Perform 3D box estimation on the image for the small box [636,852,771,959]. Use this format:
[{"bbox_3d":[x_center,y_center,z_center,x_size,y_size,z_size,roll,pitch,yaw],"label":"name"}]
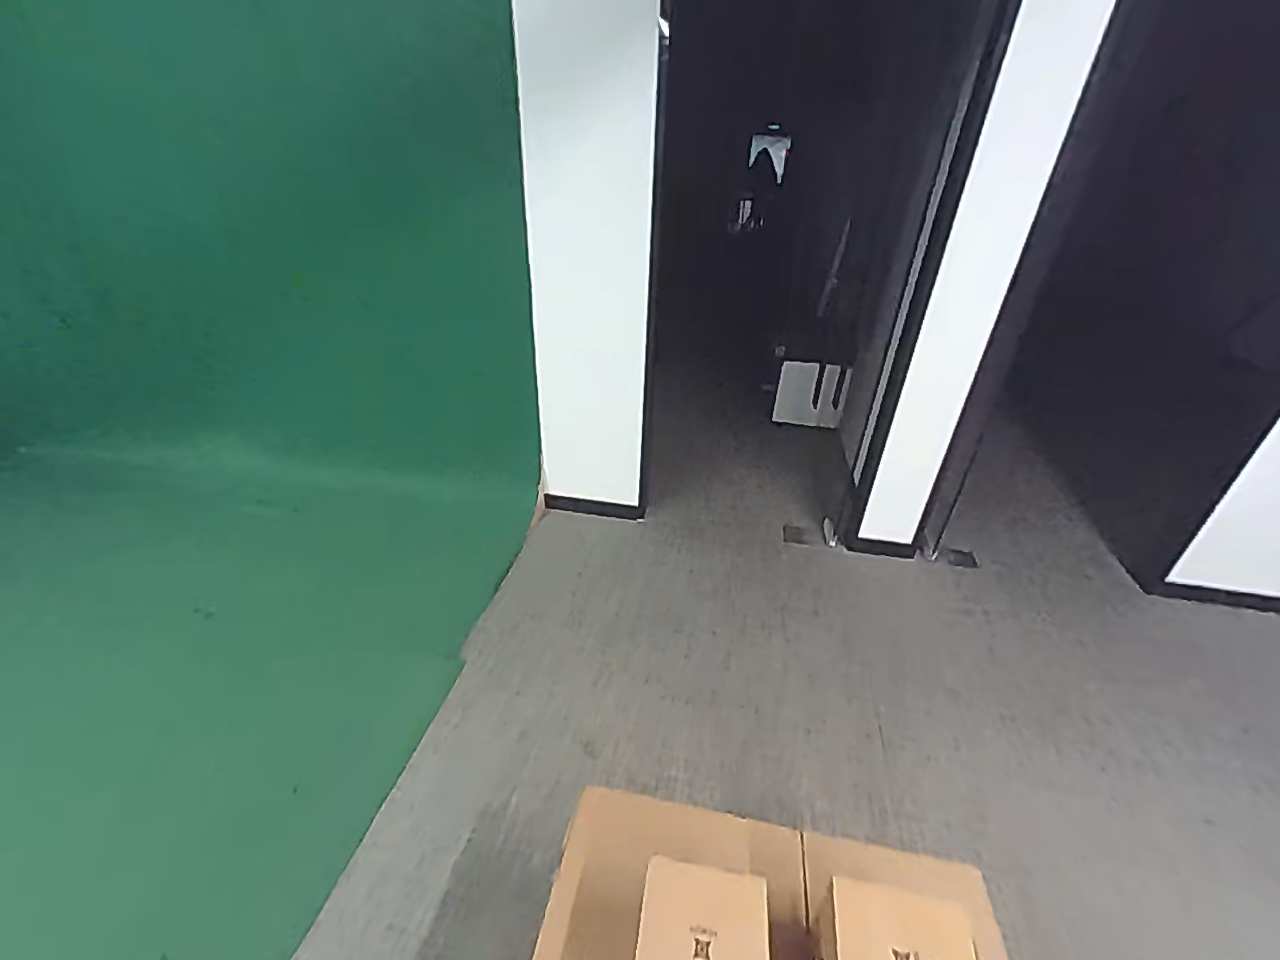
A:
[{"bbox_3d":[0.080,0.644,0.718,0.168,0.176,0.179,5,30,8],"label":"small box"}]
